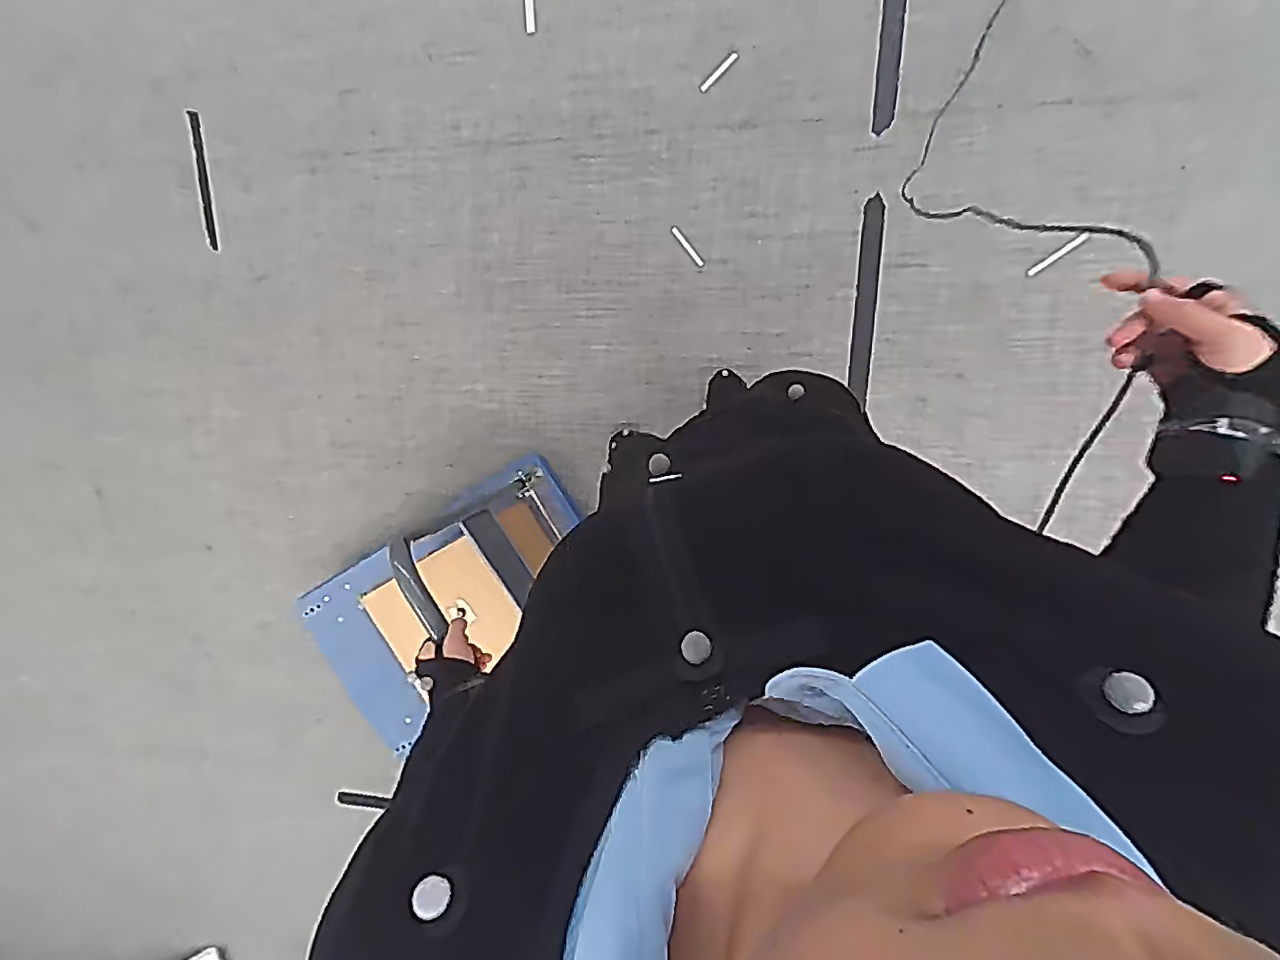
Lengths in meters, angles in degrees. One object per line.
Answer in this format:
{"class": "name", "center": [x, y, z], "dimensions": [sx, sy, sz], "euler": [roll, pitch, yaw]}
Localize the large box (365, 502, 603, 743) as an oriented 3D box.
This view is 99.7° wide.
{"class": "large box", "center": [-0.344, 0.320, 1.294], "dimensions": [0.320, 0.320, 0.408], "euler": [-30, 94, 12]}
